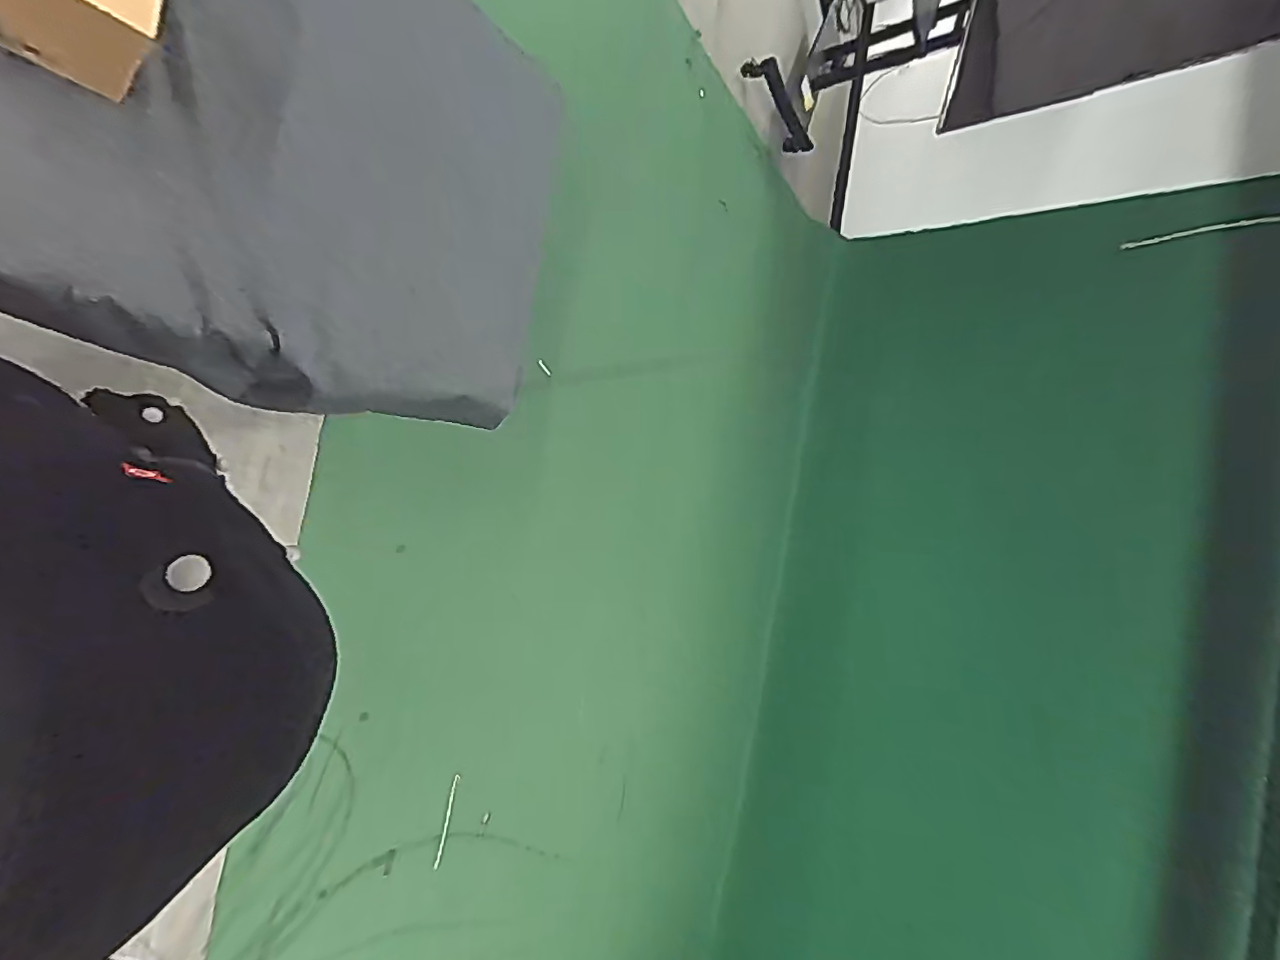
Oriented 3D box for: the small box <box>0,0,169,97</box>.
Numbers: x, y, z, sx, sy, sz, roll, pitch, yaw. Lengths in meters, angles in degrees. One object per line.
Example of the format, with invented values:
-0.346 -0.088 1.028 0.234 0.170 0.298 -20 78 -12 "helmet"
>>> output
-0.506 -0.470 0.444 0.168 0.176 0.179 8 91 -52 "small box"
